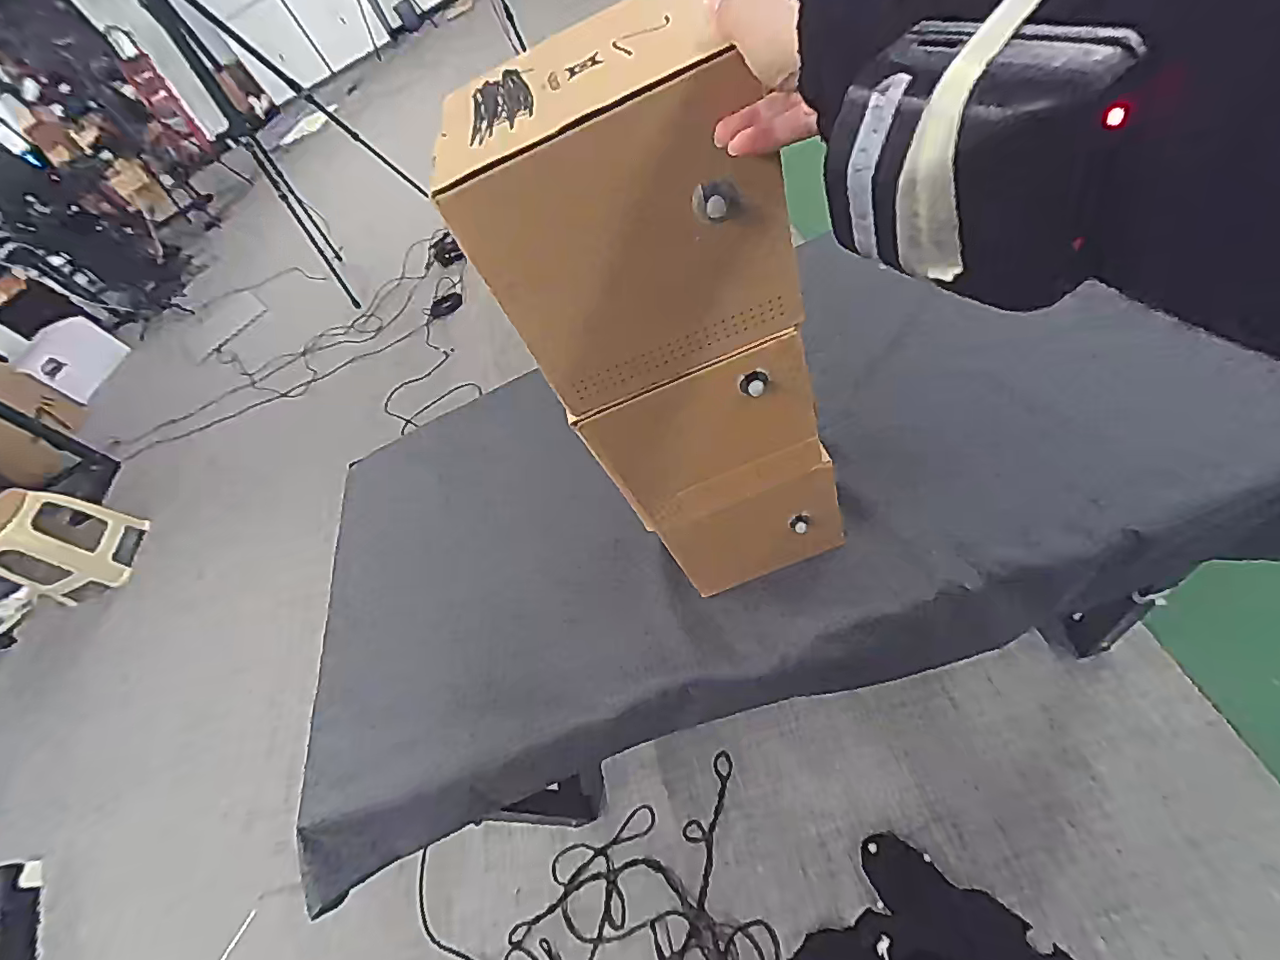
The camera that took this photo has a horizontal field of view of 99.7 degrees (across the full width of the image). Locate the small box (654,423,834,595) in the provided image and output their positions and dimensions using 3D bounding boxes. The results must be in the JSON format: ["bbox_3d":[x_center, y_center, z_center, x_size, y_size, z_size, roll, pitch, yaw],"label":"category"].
[{"bbox_3d":[0.106,0.003,0.614,0.179,0.176,0.168,-24,49,9],"label":"small box"}]

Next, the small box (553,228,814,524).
[{"bbox_3d":[0.041,-0.085,0.494,0.179,0.176,0.168,-22,49,8],"label":"small box"}]
